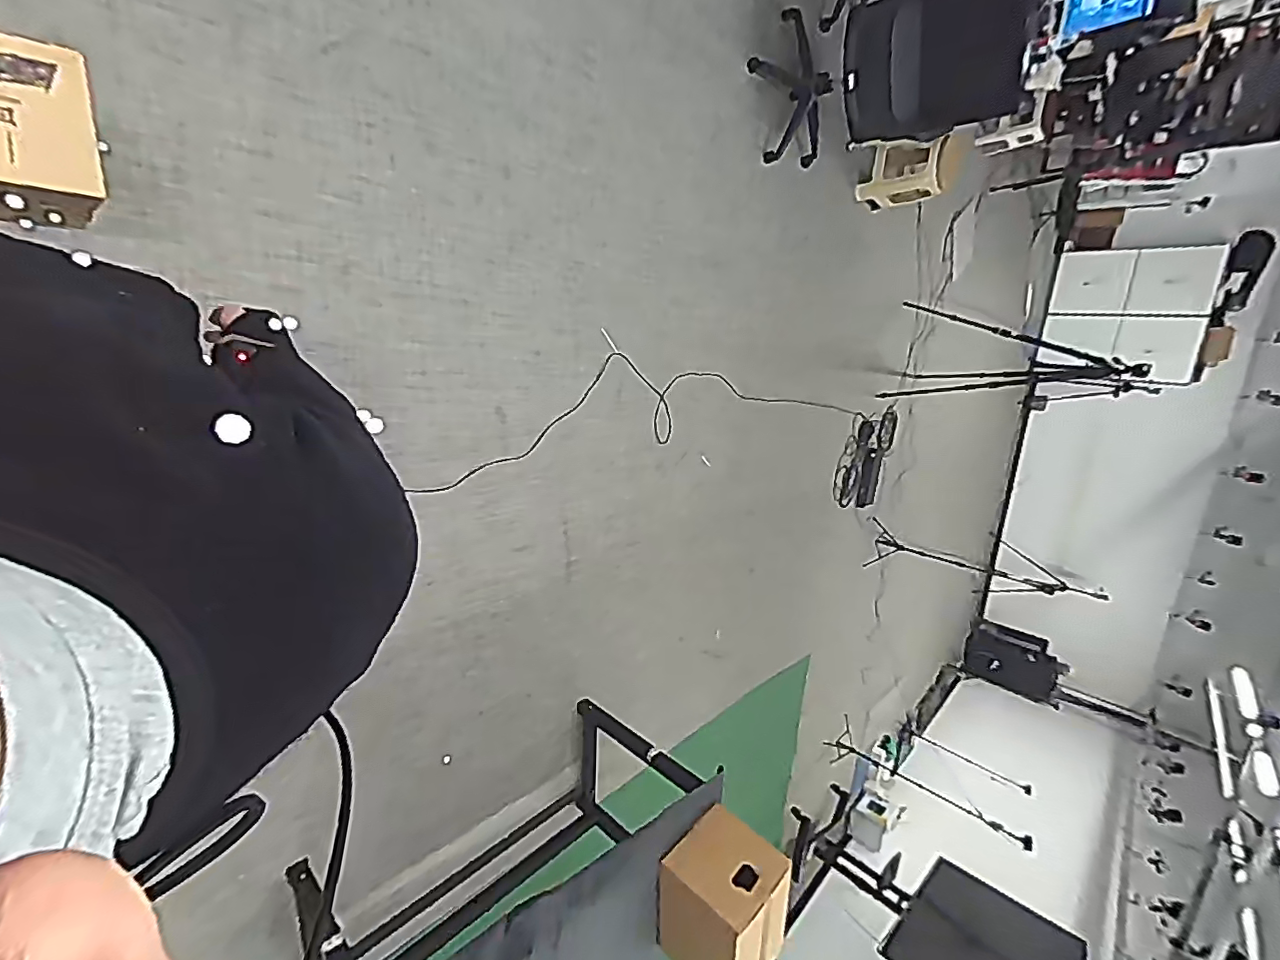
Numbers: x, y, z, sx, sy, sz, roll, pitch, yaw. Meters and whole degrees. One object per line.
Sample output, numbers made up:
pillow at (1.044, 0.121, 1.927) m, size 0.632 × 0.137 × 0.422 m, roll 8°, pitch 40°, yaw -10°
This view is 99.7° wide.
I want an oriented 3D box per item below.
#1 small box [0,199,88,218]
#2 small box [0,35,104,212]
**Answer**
small box at (-0.964, -0.507, 0.815) m, size 0.168 × 0.176 × 0.179 m, roll -14°, pitch 113°, yaw -46°
small box at (-0.842, -0.469, 0.712) m, size 0.168 × 0.176 × 0.179 m, roll -12°, pitch 114°, yaw -46°
